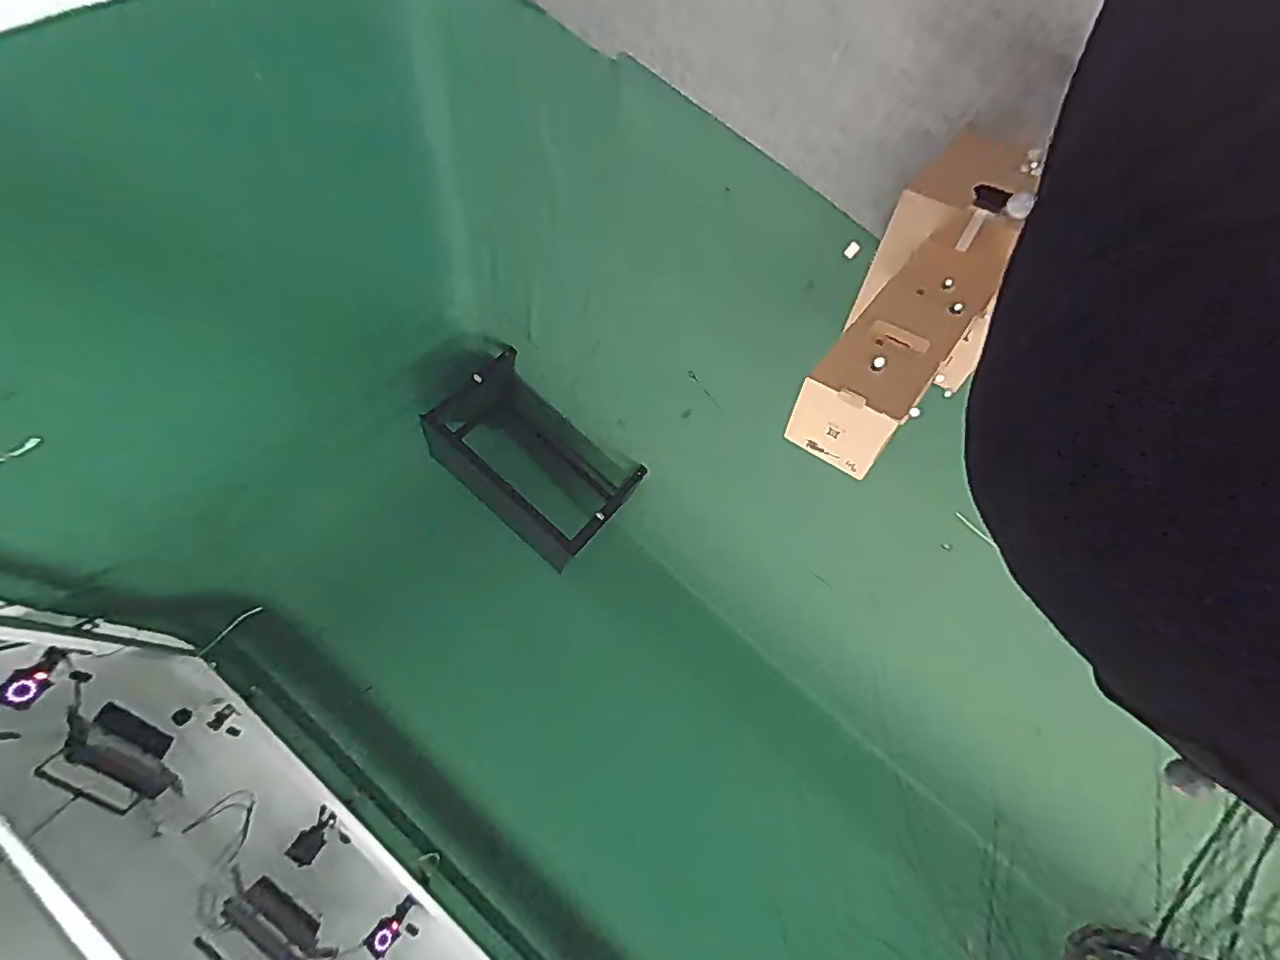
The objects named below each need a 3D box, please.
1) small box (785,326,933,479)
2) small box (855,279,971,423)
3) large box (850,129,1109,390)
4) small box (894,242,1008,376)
[{"bbox_3d":[0.392,-0.142,0.970,0.168,0.176,0.179,35,153,20],"label":"small box"},{"bbox_3d":[0.498,-0.250,1.035,0.168,0.176,0.179,34,154,20],"label":"small box"},{"bbox_3d":[0.746,-0.499,1.245,0.320,0.320,0.408,35,156,20],"label":"large box"},{"bbox_3d":[0.603,-0.354,1.105,0.179,0.176,0.168,35,154,19],"label":"small box"}]
